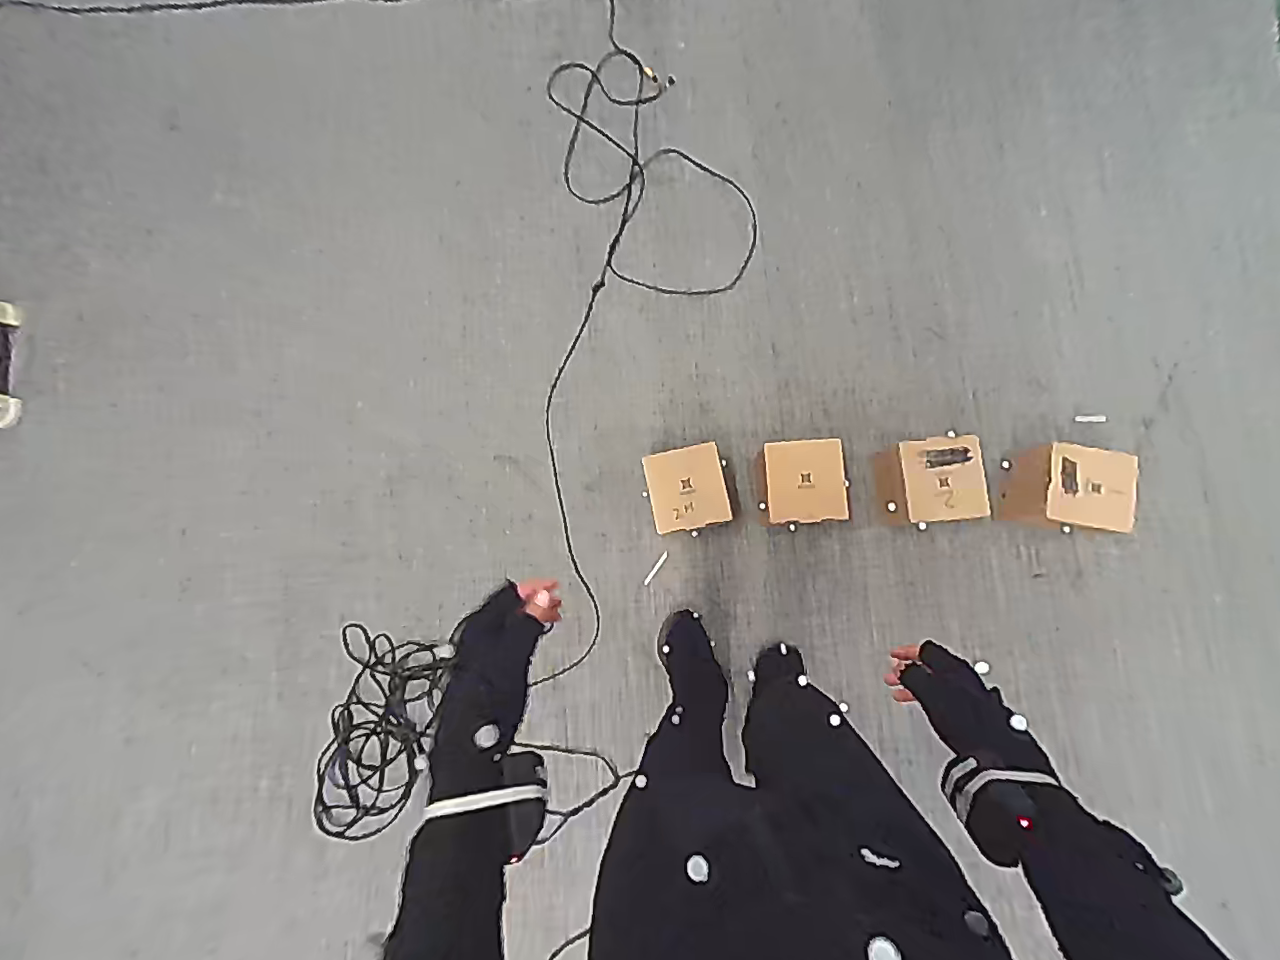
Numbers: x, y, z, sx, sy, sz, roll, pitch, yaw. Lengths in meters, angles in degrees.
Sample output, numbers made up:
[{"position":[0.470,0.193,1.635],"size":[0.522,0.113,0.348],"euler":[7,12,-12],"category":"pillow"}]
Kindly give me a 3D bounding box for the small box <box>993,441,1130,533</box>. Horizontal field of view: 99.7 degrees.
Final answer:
[{"position":[0.921,0.024,1.197],"size":[0.179,0.176,0.168],"euler":[11,84,3],"category":"small box"}]

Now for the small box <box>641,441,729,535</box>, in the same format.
[{"position":[0.100,0.025,1.243],"size":[0.168,0.176,0.179],"euler":[-12,82,3],"category":"small box"}]

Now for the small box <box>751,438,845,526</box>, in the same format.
[{"position":[0.352,0.010,1.233],"size":[0.168,0.176,0.179],"euler":[-4,83,3],"category":"small box"}]
